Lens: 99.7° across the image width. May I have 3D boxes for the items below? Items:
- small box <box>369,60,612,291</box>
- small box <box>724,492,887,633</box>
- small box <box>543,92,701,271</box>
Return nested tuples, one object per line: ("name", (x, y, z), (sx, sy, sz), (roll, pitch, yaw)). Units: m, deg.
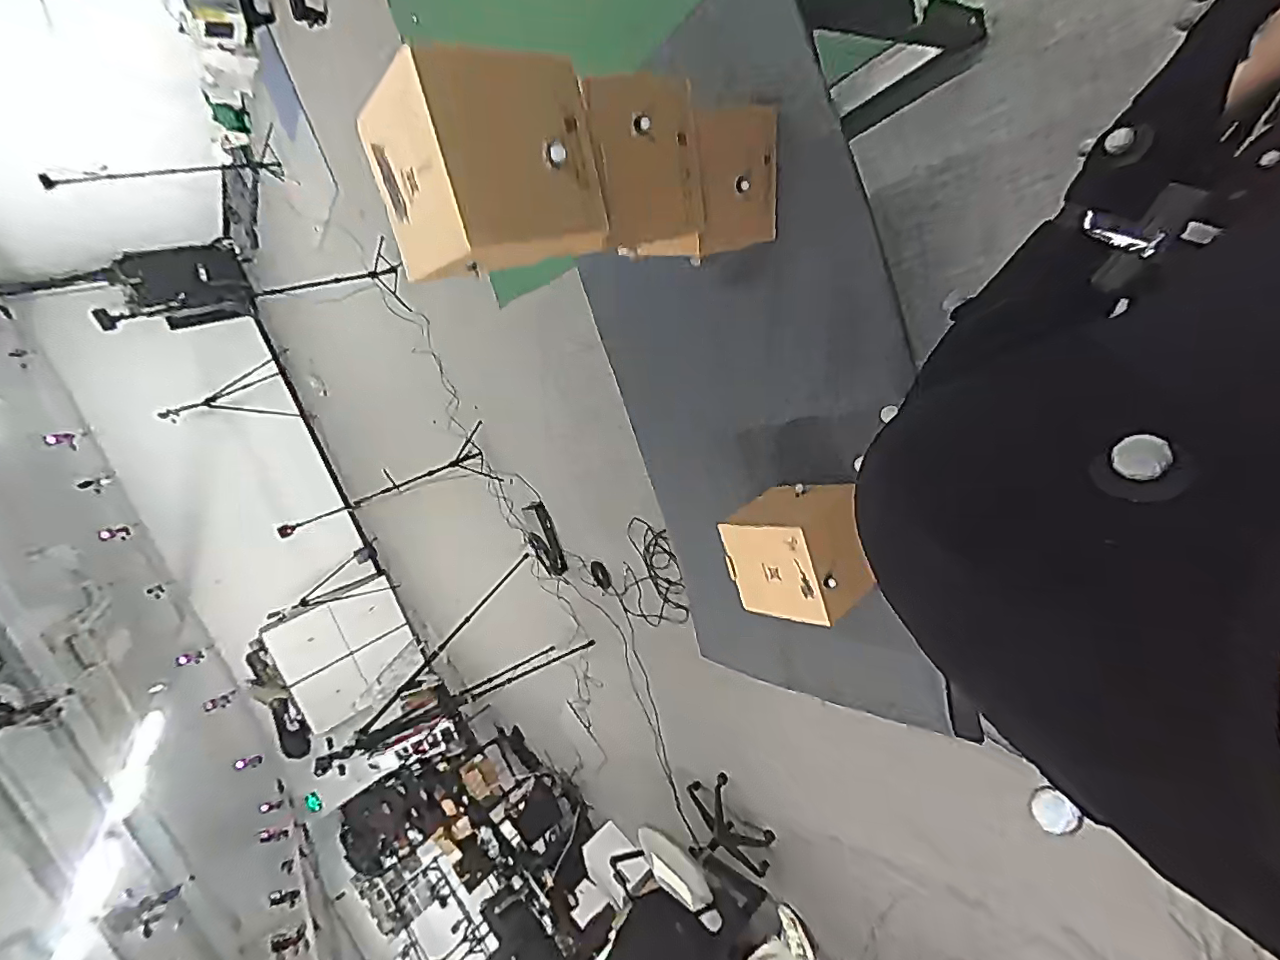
("small box", (-0.156, -0.310, 0.579), (0.179, 0.176, 0.168), (10, 120, 50))
("small box", (0.276, 0.126, 0.902), (0.179, 0.176, 0.168), (-4, 109, 54))
("small box", (-0.037, -0.365, 0.677), (0.179, 0.176, 0.168), (19, 125, 48))
